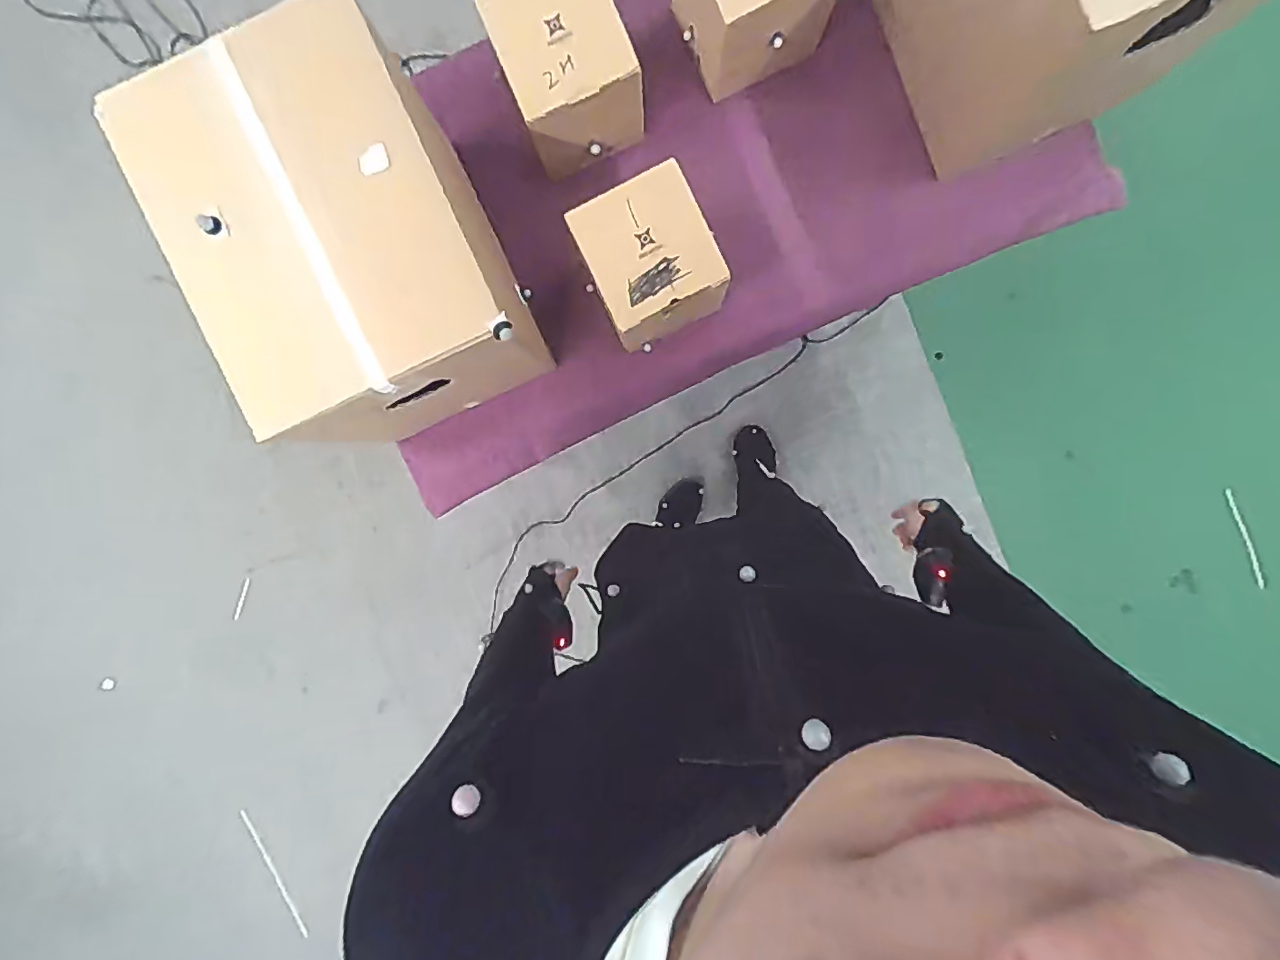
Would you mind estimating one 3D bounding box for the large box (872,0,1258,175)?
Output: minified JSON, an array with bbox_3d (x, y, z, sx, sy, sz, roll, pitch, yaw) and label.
[{"bbox_3d":[0.525,-0.701,0.678,0.320,0.320,0.408,-23,93,5],"label":"large box"}]
